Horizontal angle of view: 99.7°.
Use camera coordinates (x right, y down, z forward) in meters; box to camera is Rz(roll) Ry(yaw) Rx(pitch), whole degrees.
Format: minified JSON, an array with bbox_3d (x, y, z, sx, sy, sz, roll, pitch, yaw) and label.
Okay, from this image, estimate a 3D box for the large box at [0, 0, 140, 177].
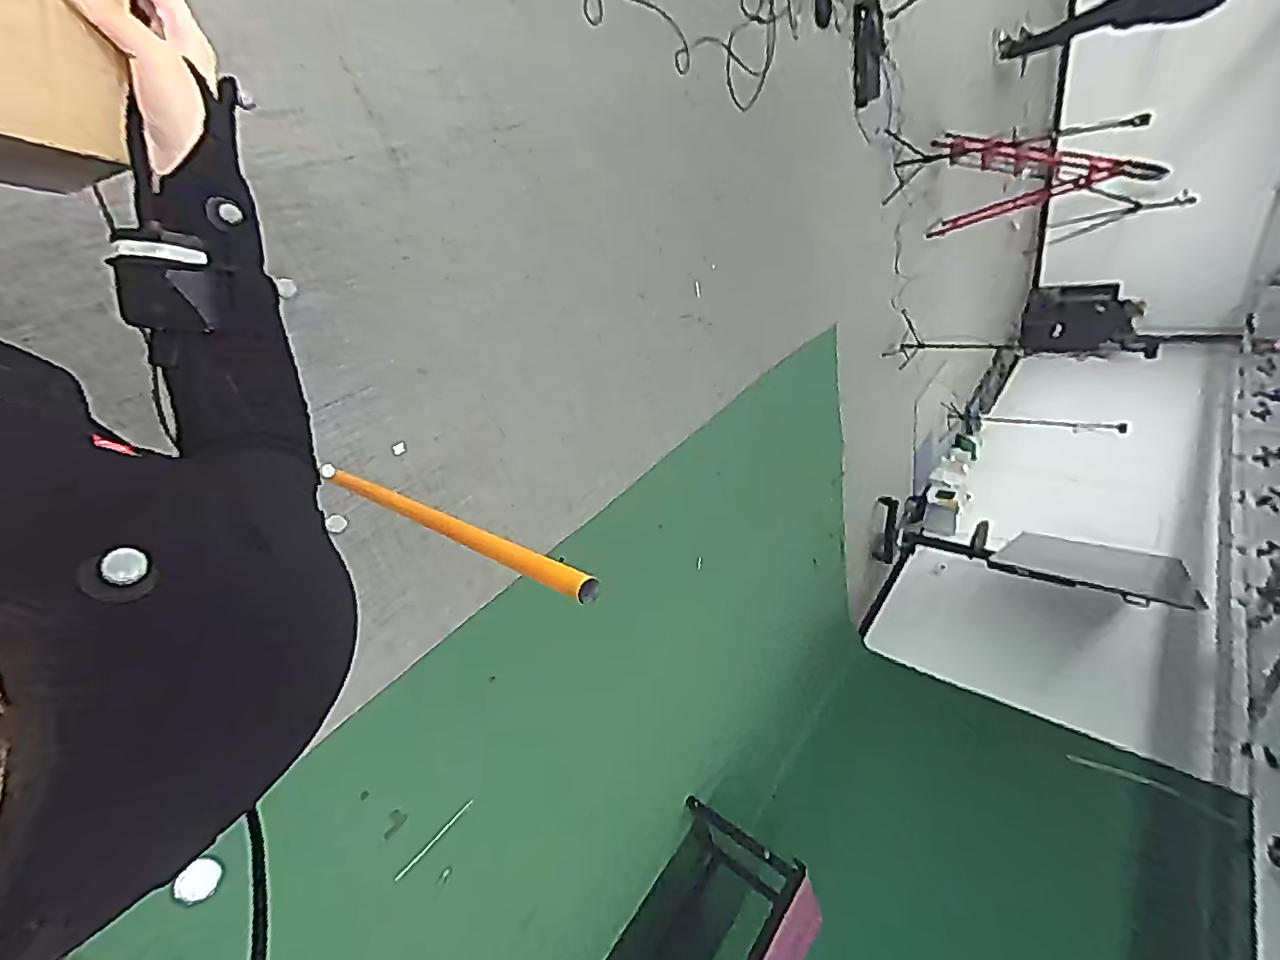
[{"bbox_3d":[-0.560,-0.381,0.259,0.408,0.320,0.320,-11,114,-52],"label":"large box"}]
